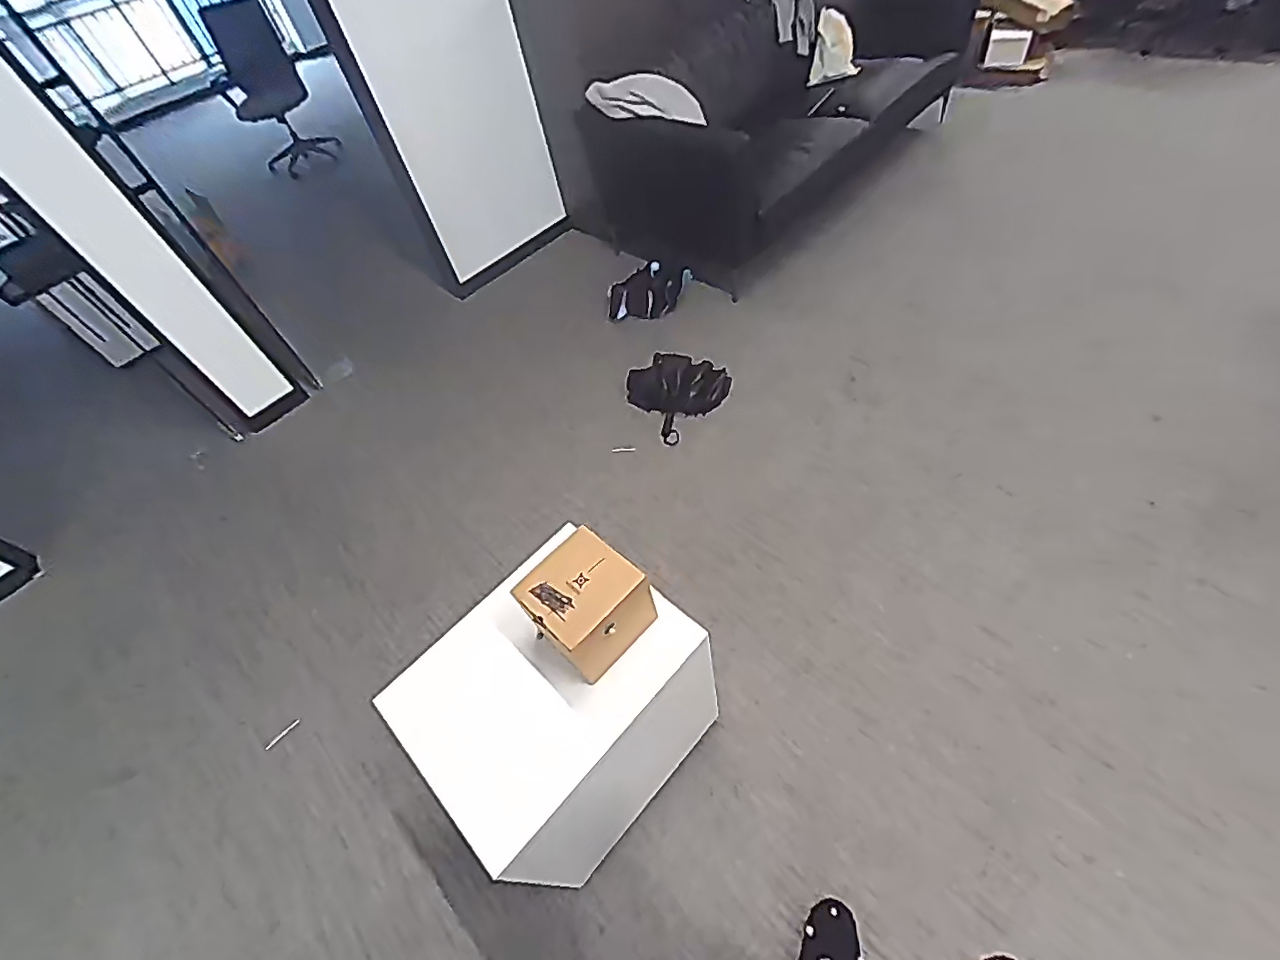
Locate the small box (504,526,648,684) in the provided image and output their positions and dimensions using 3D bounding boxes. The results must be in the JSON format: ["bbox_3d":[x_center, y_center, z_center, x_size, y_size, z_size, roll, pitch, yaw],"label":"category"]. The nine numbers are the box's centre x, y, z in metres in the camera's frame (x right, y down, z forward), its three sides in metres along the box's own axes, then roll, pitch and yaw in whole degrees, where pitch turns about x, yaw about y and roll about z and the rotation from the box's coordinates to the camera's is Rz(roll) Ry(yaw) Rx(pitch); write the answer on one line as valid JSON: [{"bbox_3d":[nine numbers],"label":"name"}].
[{"bbox_3d":[-0.101,0.221,0.946,0.168,0.176,0.179,34,62,29],"label":"small box"}]
